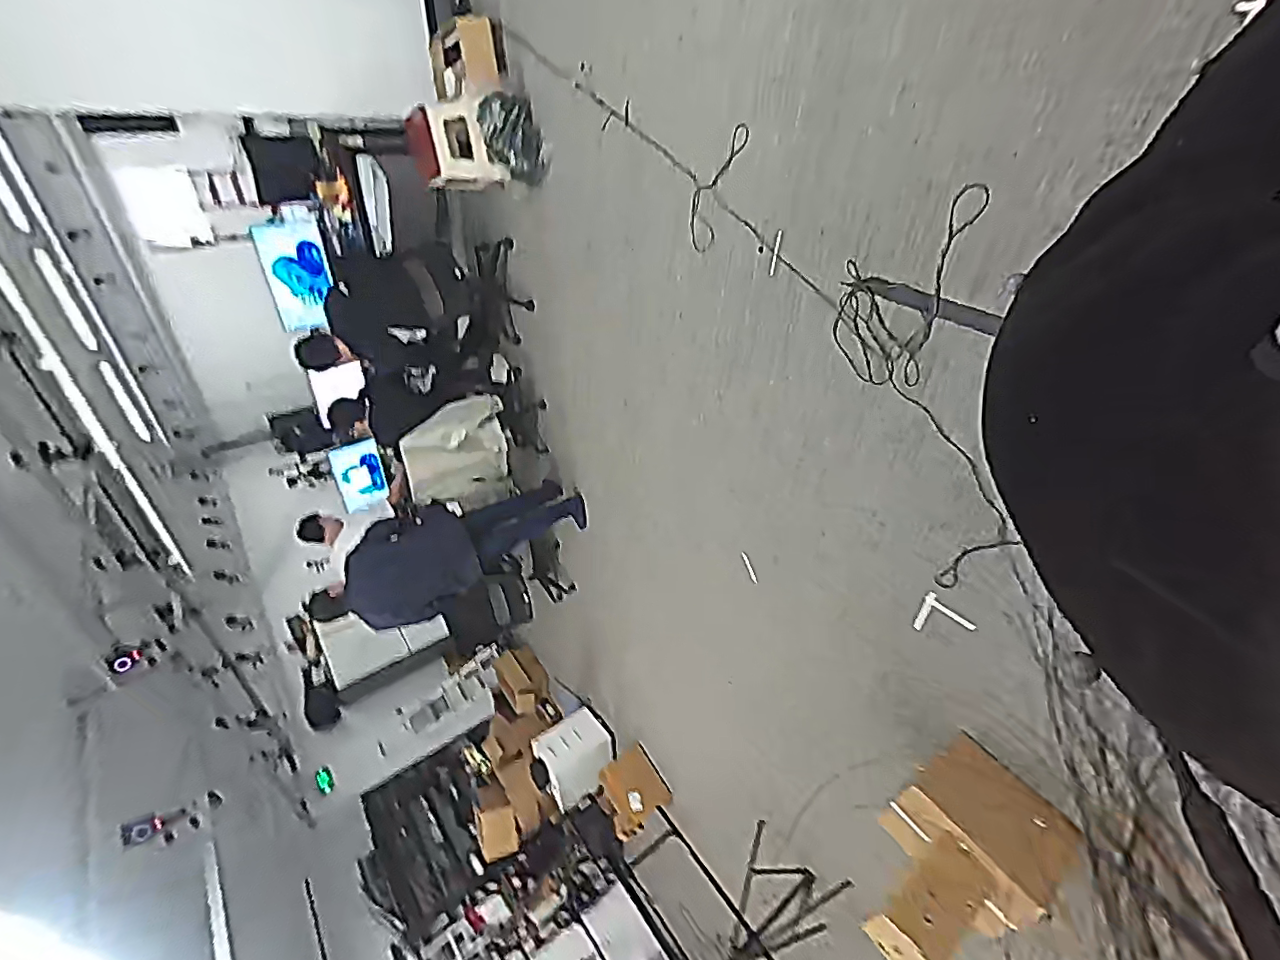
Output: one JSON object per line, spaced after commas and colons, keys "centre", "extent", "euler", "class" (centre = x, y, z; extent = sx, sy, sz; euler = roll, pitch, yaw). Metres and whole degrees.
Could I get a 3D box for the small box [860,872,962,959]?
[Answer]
{"centre": [0.759, 1.244, 1.507], "extent": [0.168, 0.176, 0.179], "euler": [43, 141, 34], "class": "small box"}
